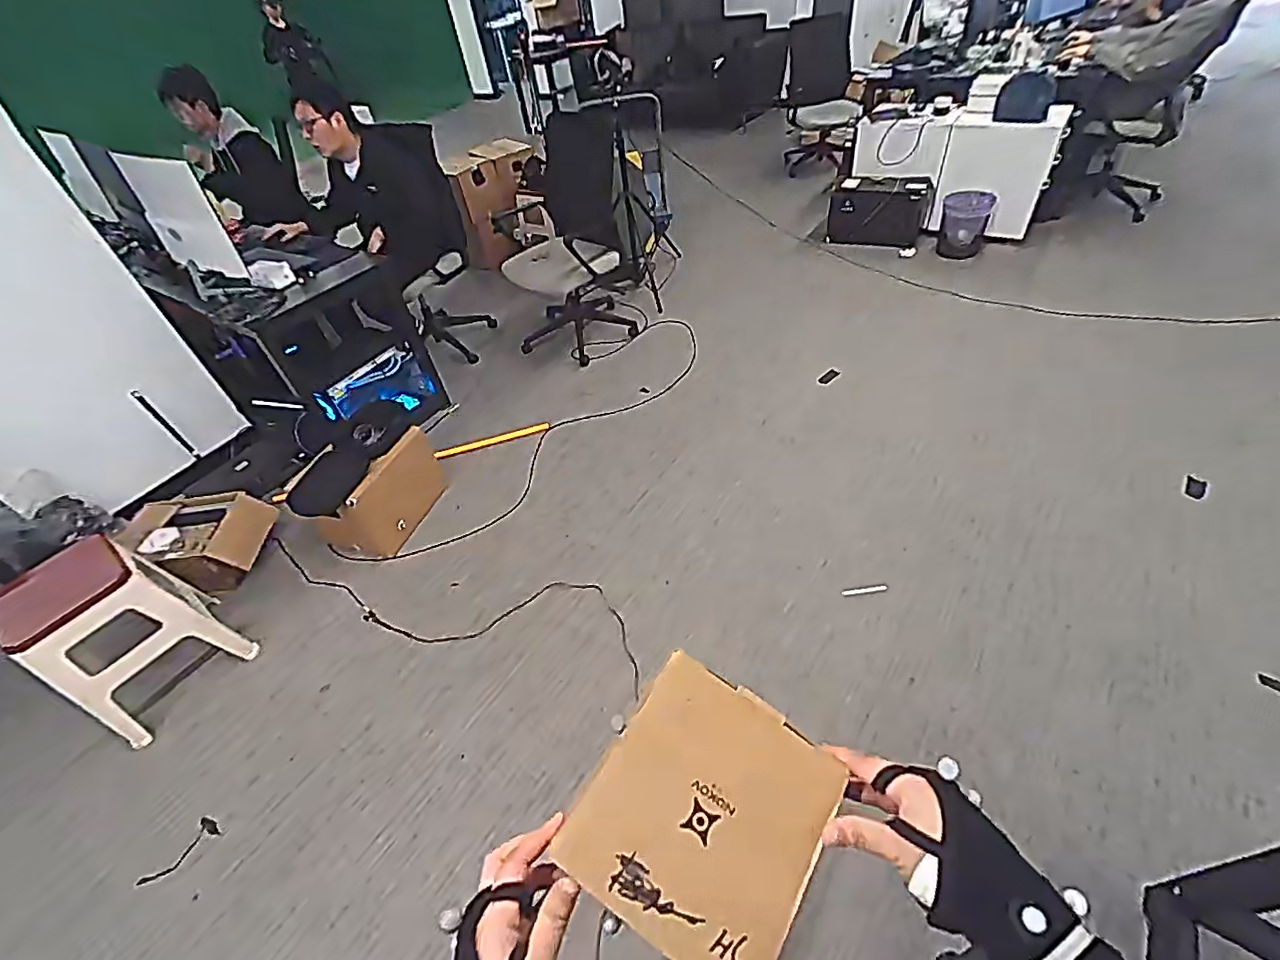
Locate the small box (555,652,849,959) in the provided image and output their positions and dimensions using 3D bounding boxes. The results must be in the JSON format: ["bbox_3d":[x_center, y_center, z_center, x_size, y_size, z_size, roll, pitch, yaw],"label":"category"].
[{"bbox_3d":[0.044,0.285,0.471,0.168,0.176,0.179,32,63,13],"label":"small box"}]
